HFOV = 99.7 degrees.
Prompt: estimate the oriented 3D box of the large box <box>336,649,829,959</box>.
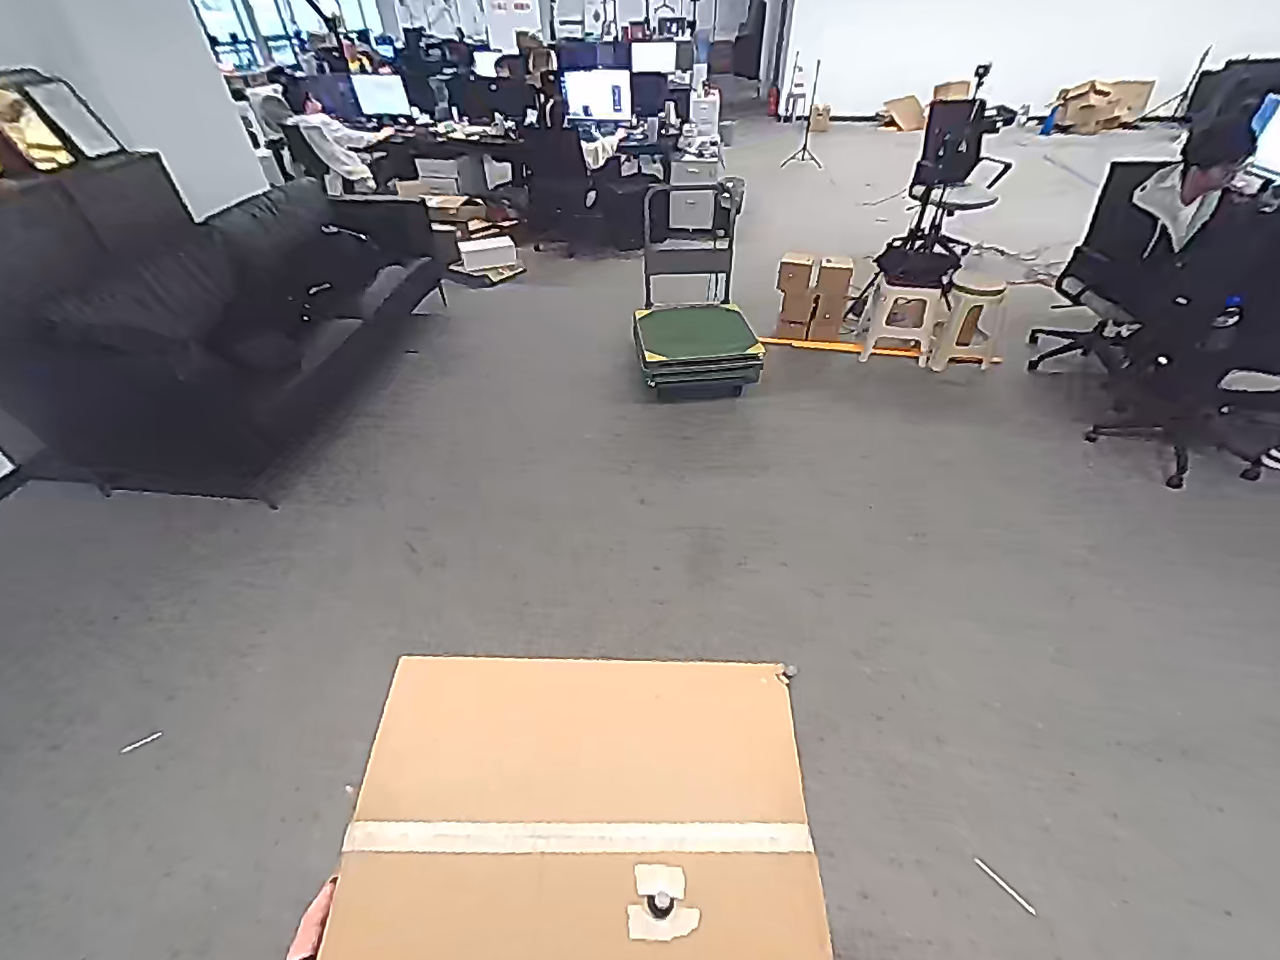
[{"bbox_3d":[-0.054,0.398,0.610,0.408,0.320,0.320,2,53,-3],"label":"large box"}]
